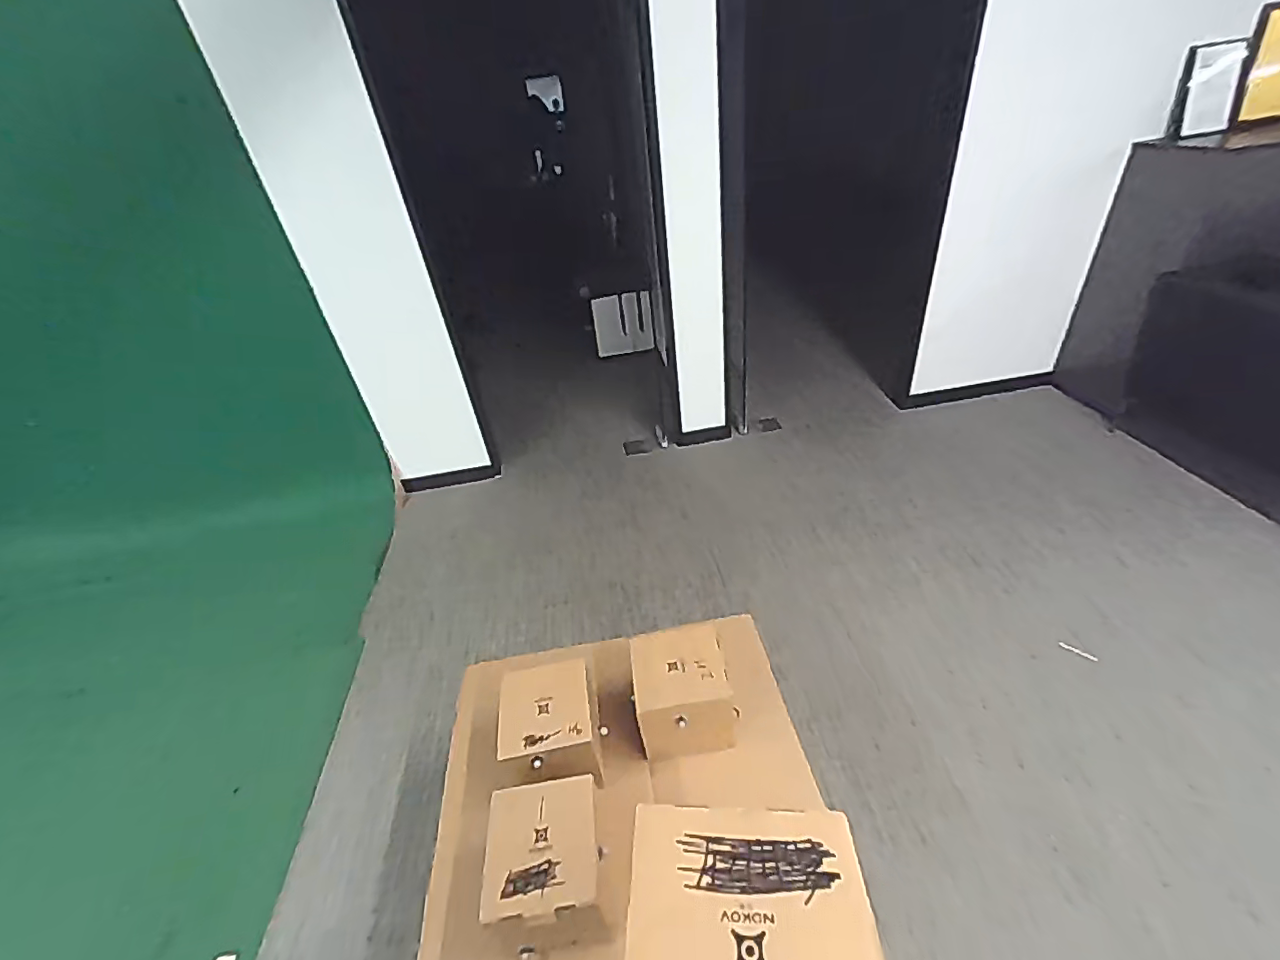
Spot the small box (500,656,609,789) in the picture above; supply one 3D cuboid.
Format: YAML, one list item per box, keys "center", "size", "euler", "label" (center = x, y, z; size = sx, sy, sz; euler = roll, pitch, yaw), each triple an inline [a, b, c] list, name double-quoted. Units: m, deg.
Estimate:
- center: [-0.158, 0.473, 1.032]
  size: [0.168, 0.176, 0.179]
  euler: [-12, 34, -2]
  label: "small box"

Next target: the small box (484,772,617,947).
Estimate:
- center: [-0.132, 0.600, 0.852]
  size: [0.168, 0.176, 0.179]
  euler: [-10, 35, -1]
  label: "small box"

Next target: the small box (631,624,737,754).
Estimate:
- center: [0.086, 0.414, 1.065]
  size: [0.179, 0.176, 0.168]
  euler: [-10, 36, 1]
  label: "small box"
